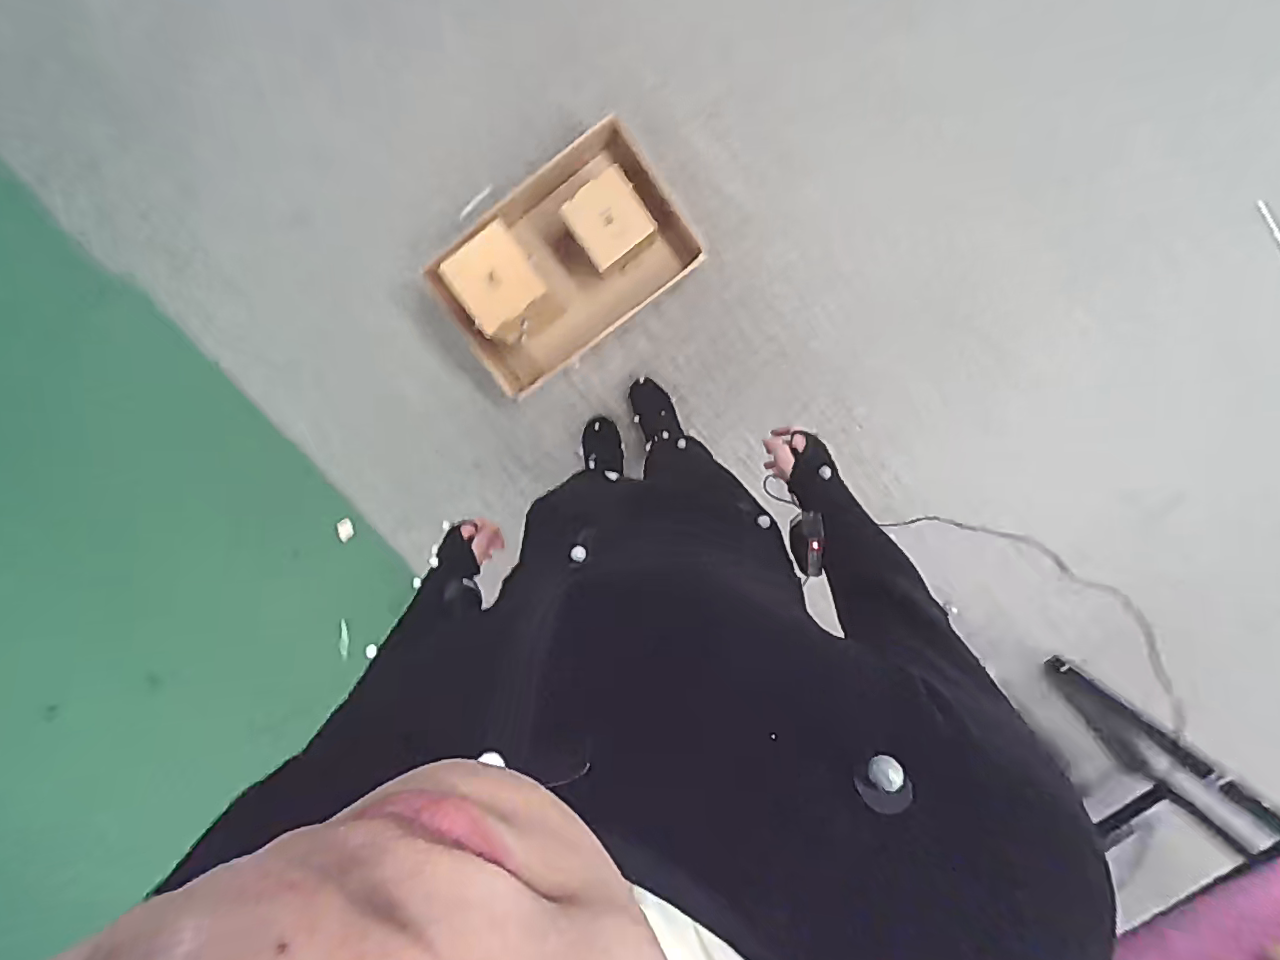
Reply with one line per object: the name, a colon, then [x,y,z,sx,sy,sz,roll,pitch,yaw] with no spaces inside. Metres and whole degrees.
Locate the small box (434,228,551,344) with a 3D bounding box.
small box: [-0.325,-0.428,1.226,0.168,0.176,0.179,-36,99,6]
